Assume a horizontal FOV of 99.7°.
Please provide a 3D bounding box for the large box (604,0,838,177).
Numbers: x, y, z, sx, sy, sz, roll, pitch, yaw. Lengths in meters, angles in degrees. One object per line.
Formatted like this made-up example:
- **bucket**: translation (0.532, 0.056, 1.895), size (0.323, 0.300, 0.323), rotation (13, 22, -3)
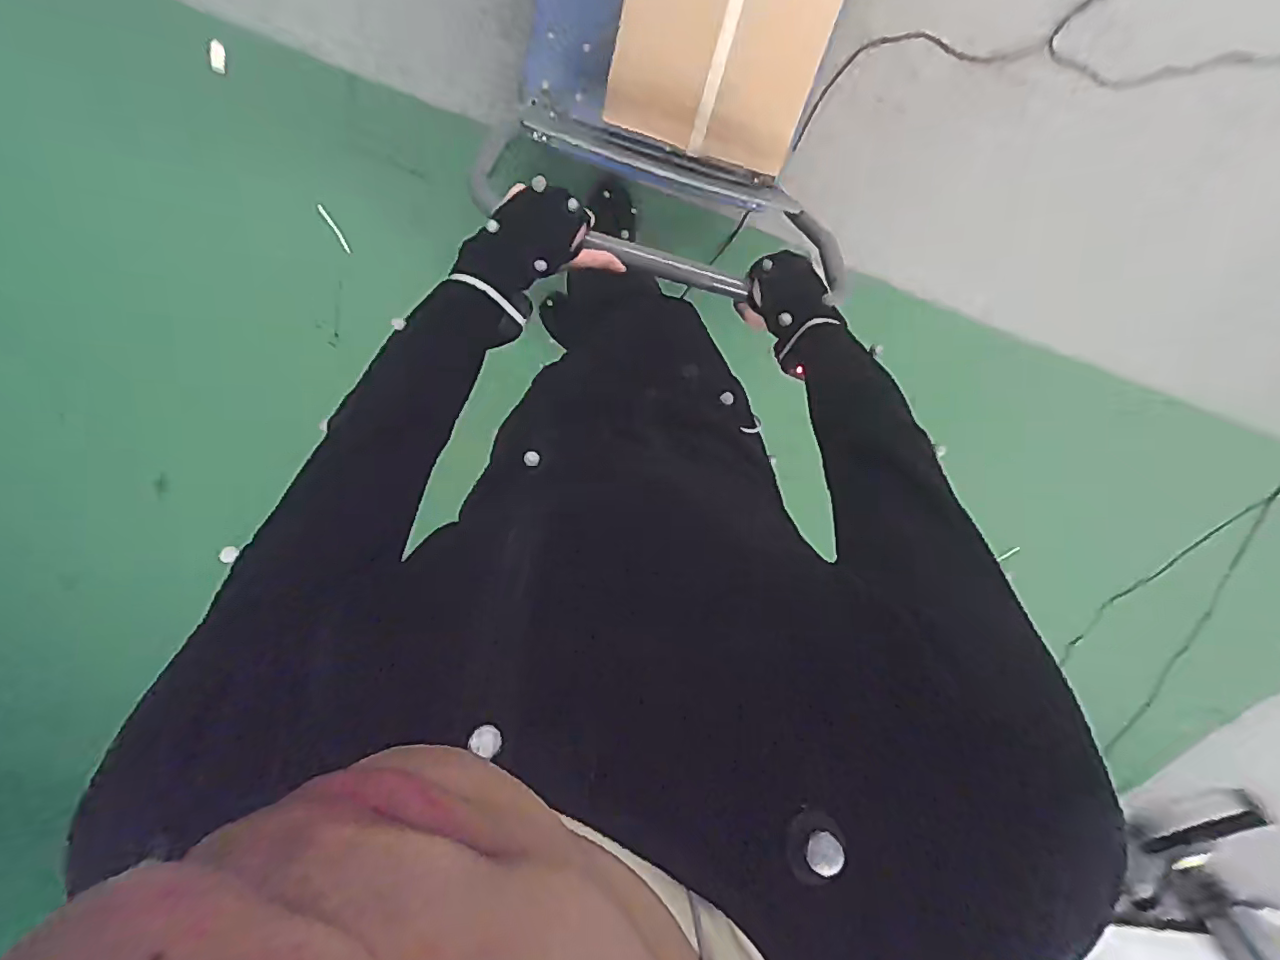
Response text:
- **large box**: translation (0.135, -0.798, 0.936), size (0.320, 0.320, 0.408), rotation (13, 123, -11)
